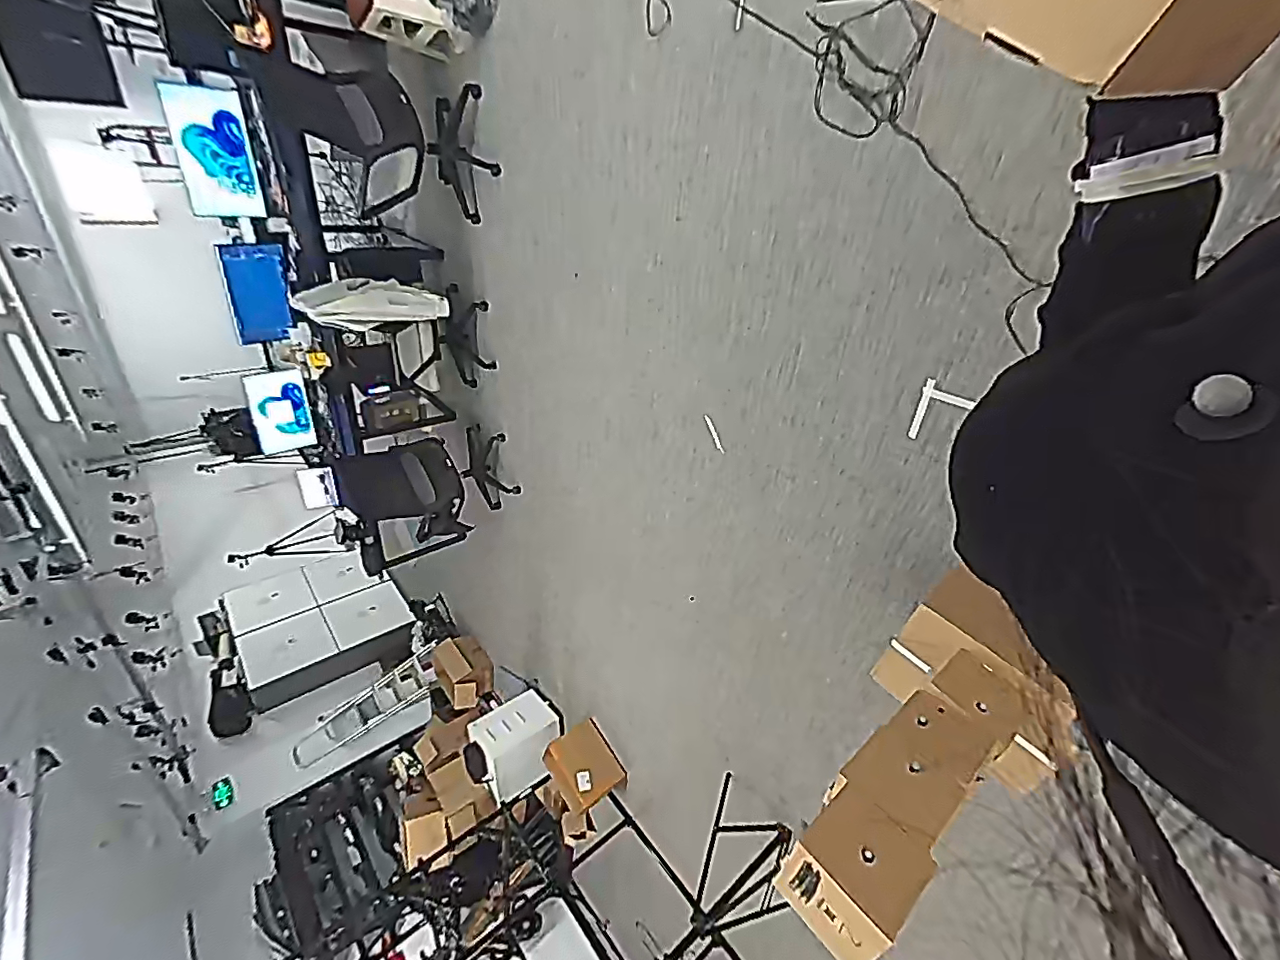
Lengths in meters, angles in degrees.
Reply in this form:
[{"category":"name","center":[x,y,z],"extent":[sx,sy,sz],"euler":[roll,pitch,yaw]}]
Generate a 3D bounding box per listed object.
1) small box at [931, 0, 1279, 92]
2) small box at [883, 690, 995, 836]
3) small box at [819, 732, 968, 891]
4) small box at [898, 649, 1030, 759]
[{"category":"small box","center":[0.227,-0.296,0.220],"extent":[0.168,0.176,0.179],"euler":[55,151,23]},{"category":"small box","center":[0.612,0.581,1.134],"extent":[0.168,0.176,0.179],"euler":[28,128,43]},{"category":"small box","center":[0.484,0.620,1.040],"extent":[0.179,0.176,0.168],"euler":[35,131,39]},{"category":"small box","center":[0.733,0.520,1.225],"extent":[0.179,0.176,0.168],"euler":[43,136,32]}]
